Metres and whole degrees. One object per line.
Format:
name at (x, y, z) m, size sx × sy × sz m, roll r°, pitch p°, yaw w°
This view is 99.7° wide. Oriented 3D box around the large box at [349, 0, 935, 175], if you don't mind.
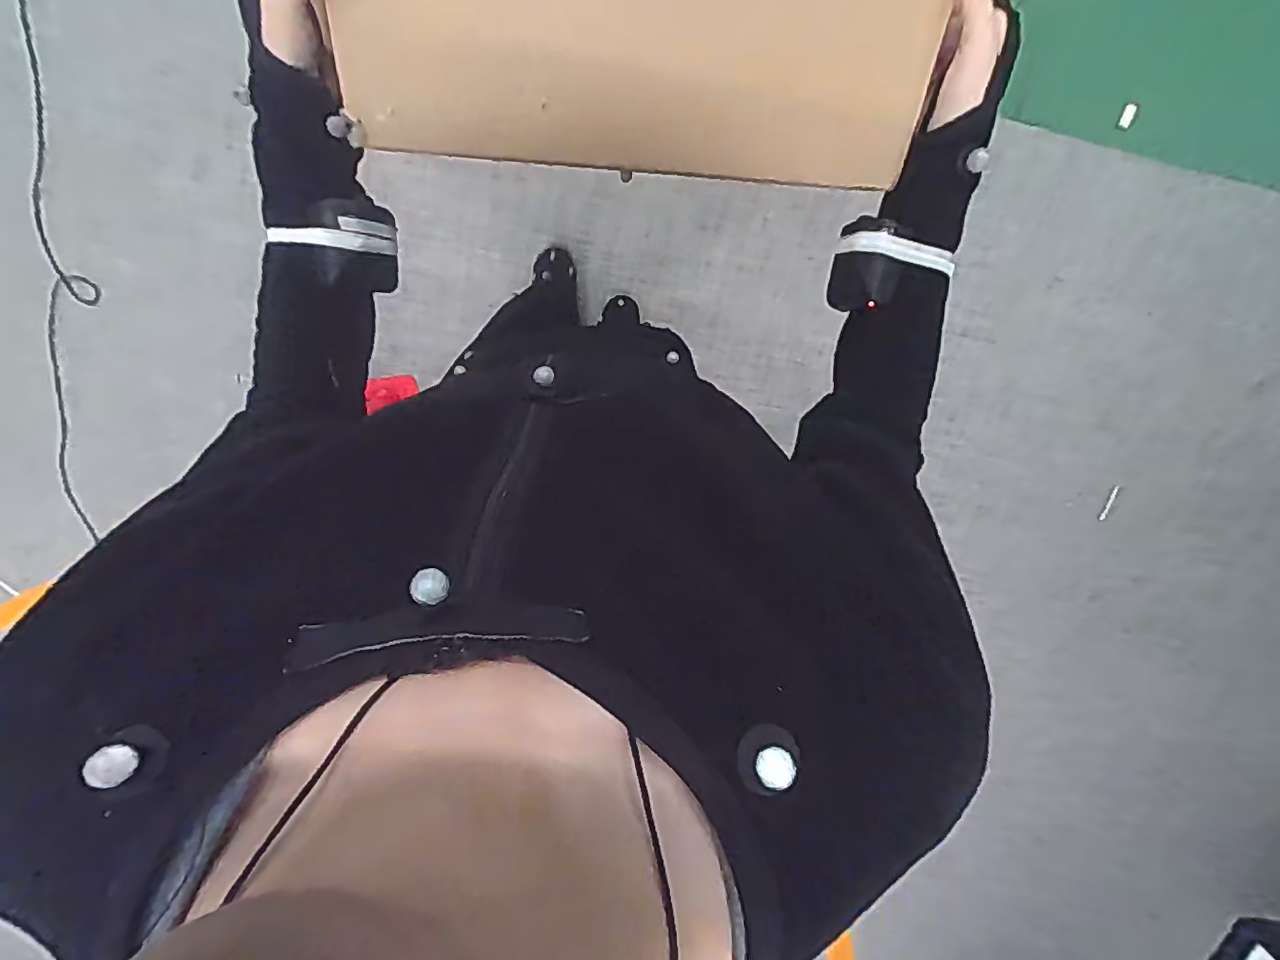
large box at (0.004, -0.457, 0.455) m, size 0.408 × 0.320 × 0.320 m, roll 2°, pitch 122°, yaw -5°
